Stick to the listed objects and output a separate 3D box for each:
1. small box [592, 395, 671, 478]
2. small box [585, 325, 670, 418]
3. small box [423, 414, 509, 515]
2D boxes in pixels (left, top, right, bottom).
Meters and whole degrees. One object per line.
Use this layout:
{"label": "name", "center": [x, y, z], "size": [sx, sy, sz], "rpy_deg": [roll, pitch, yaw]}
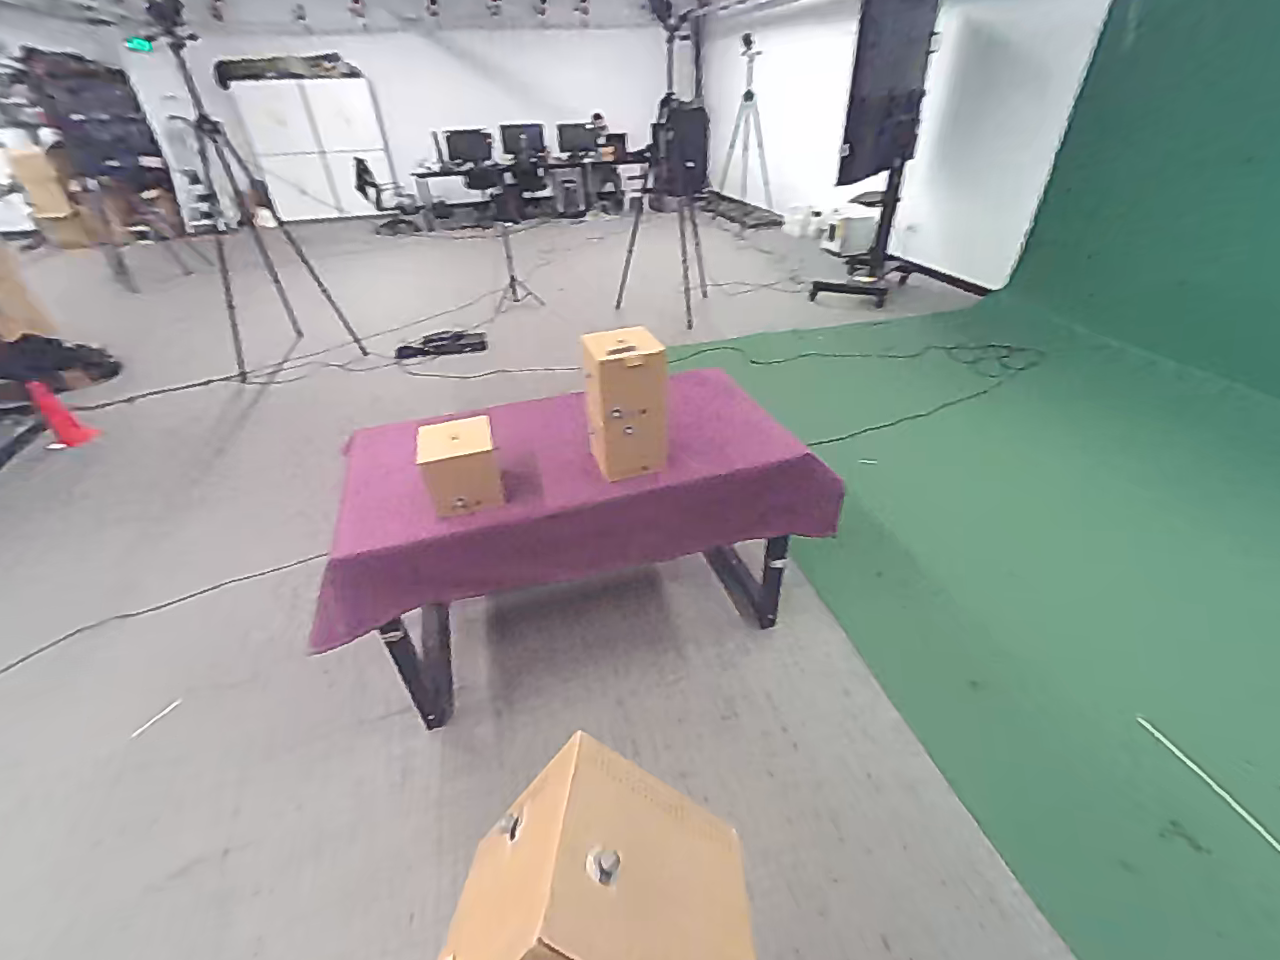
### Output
{"label": "small box", "center": [-0.024, -0.128, 1.420], "size": [0.168, 0.176, 0.179], "rpy_deg": [-13, 36, -12]}
{"label": "small box", "center": [-0.029, -0.261, 1.324], "size": [0.168, 0.176, 0.179], "rpy_deg": [-12, 37, -13]}
{"label": "small box", "center": [-0.423, -0.039, 1.326], "size": [0.168, 0.176, 0.179], "rpy_deg": [-12, 38, -12]}
